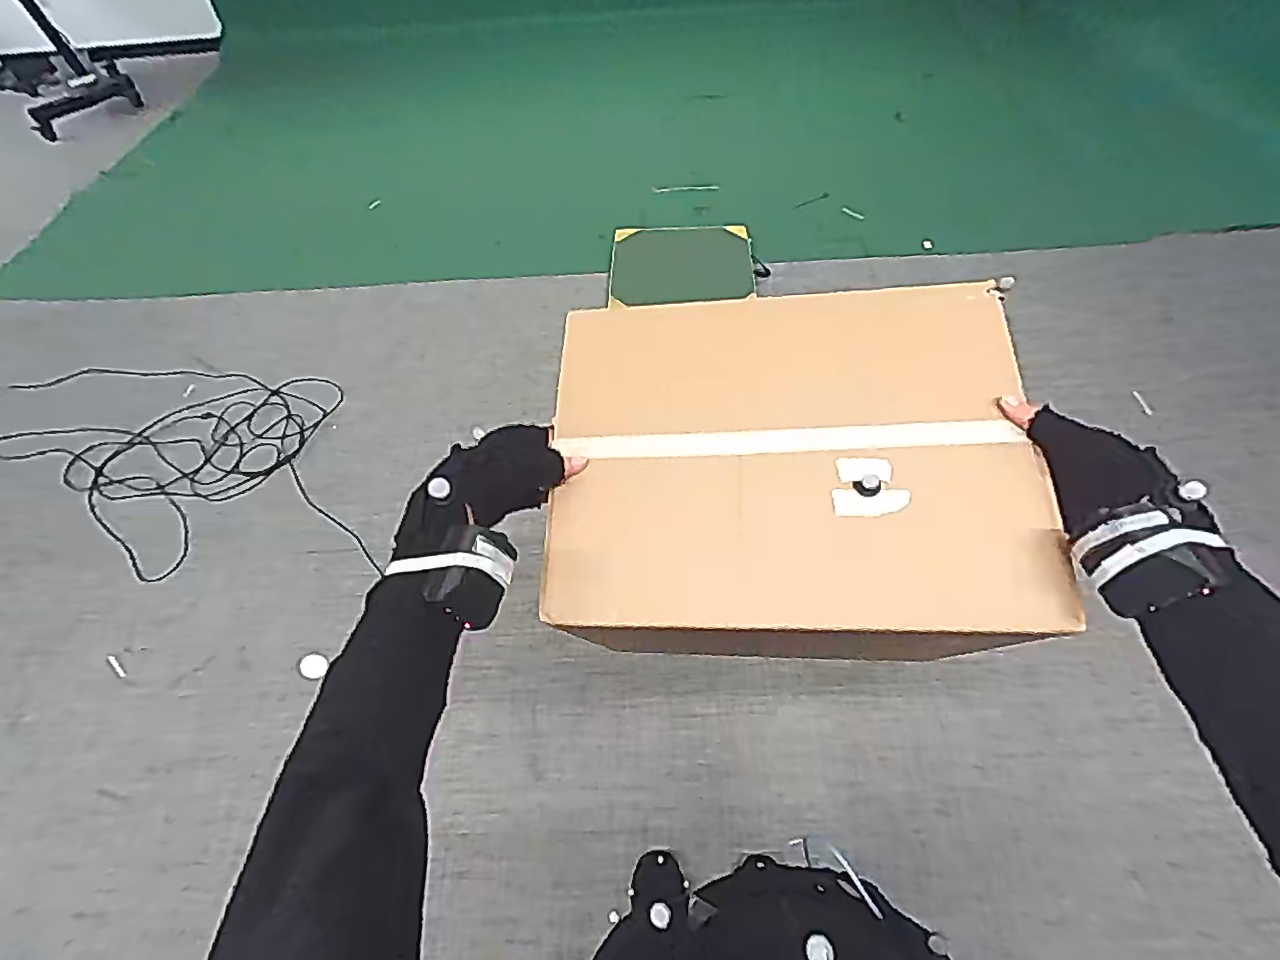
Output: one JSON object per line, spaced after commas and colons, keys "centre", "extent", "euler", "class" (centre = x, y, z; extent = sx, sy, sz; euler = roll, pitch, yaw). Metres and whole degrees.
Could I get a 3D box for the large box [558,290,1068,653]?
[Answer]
{"centre": [0.144, 0.022, 0.619], "extent": [0.408, 0.320, 0.320], "euler": [-1, 68, 7], "class": "large box"}
